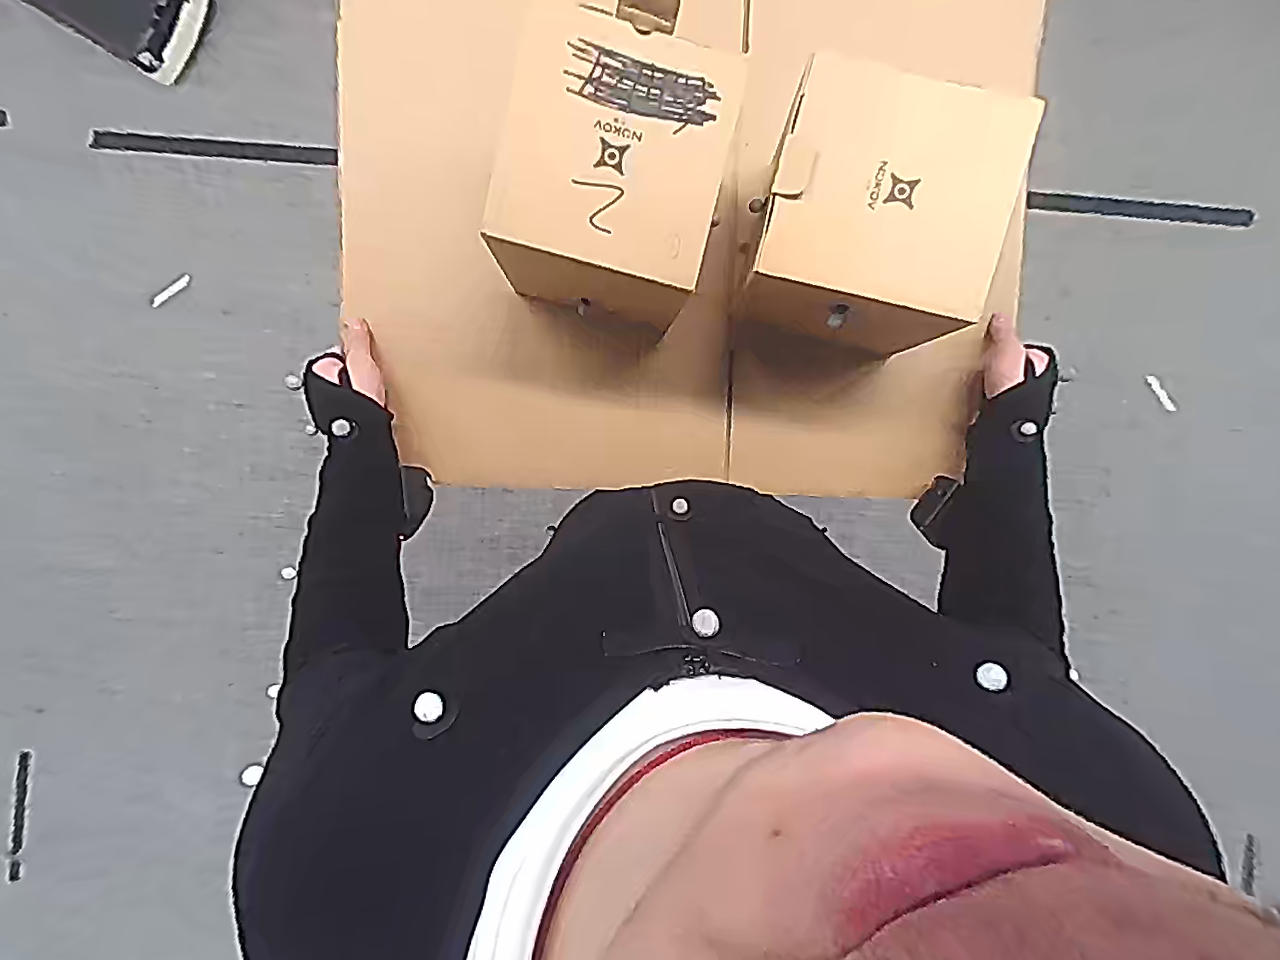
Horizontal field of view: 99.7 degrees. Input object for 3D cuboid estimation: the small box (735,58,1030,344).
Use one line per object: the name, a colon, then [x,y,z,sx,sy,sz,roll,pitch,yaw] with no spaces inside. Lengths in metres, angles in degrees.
small box: [0.197,-0.231,0.497,0.179,0.176,0.168,14,95,3]
